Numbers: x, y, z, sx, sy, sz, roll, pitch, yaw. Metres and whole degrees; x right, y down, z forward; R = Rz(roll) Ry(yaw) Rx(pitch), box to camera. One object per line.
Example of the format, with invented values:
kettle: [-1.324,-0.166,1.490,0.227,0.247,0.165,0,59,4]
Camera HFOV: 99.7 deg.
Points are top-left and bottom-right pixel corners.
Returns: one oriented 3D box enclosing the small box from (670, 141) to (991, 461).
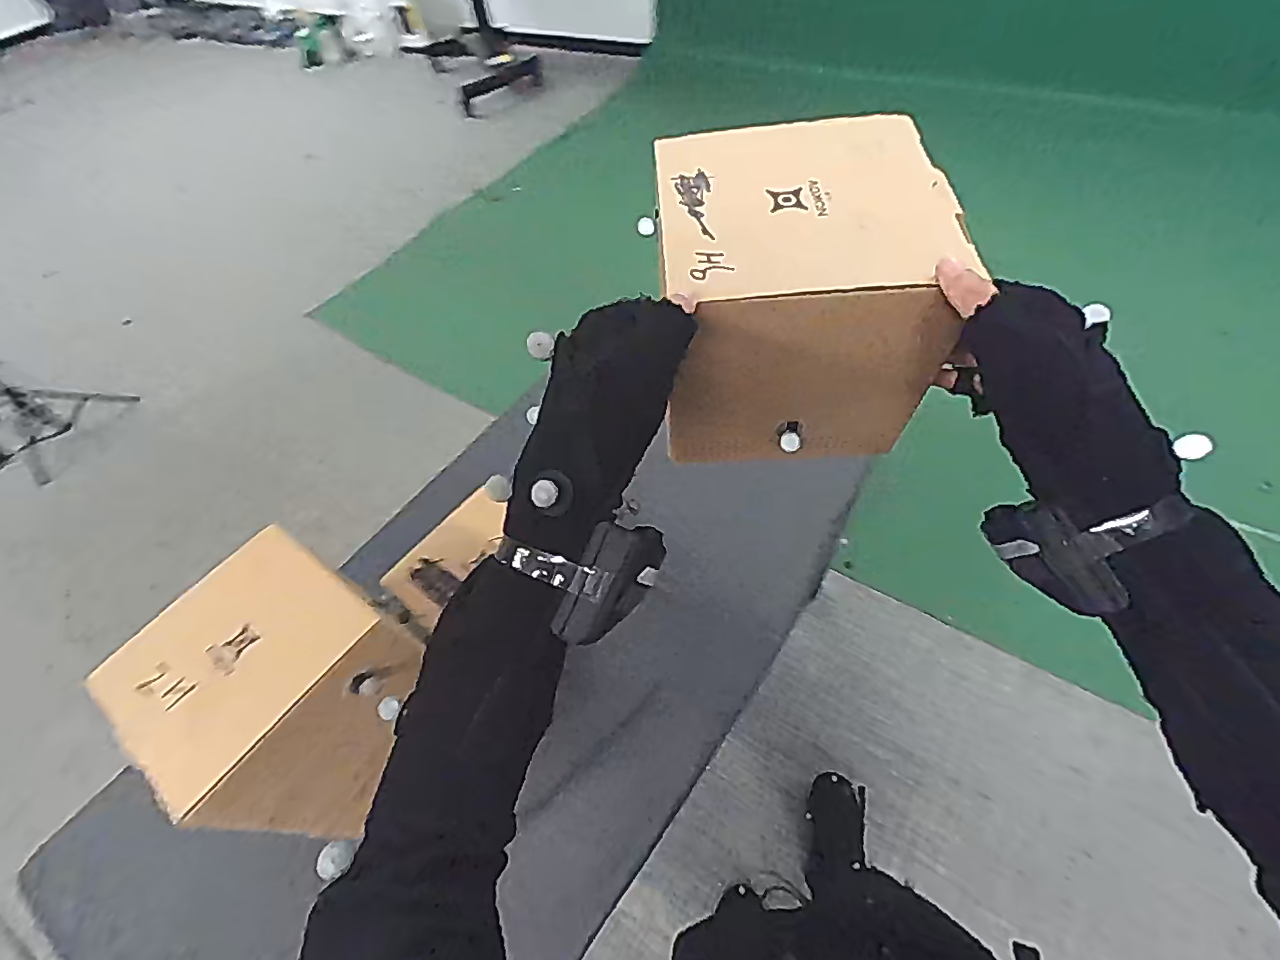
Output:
small box: [0.114,-0.125,0.411,0.179,0.176,0.168,-1,58,2]

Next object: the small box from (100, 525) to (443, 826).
small box: [-0.310,0.181,0.499,0.168,0.176,0.179,29,62,25]
